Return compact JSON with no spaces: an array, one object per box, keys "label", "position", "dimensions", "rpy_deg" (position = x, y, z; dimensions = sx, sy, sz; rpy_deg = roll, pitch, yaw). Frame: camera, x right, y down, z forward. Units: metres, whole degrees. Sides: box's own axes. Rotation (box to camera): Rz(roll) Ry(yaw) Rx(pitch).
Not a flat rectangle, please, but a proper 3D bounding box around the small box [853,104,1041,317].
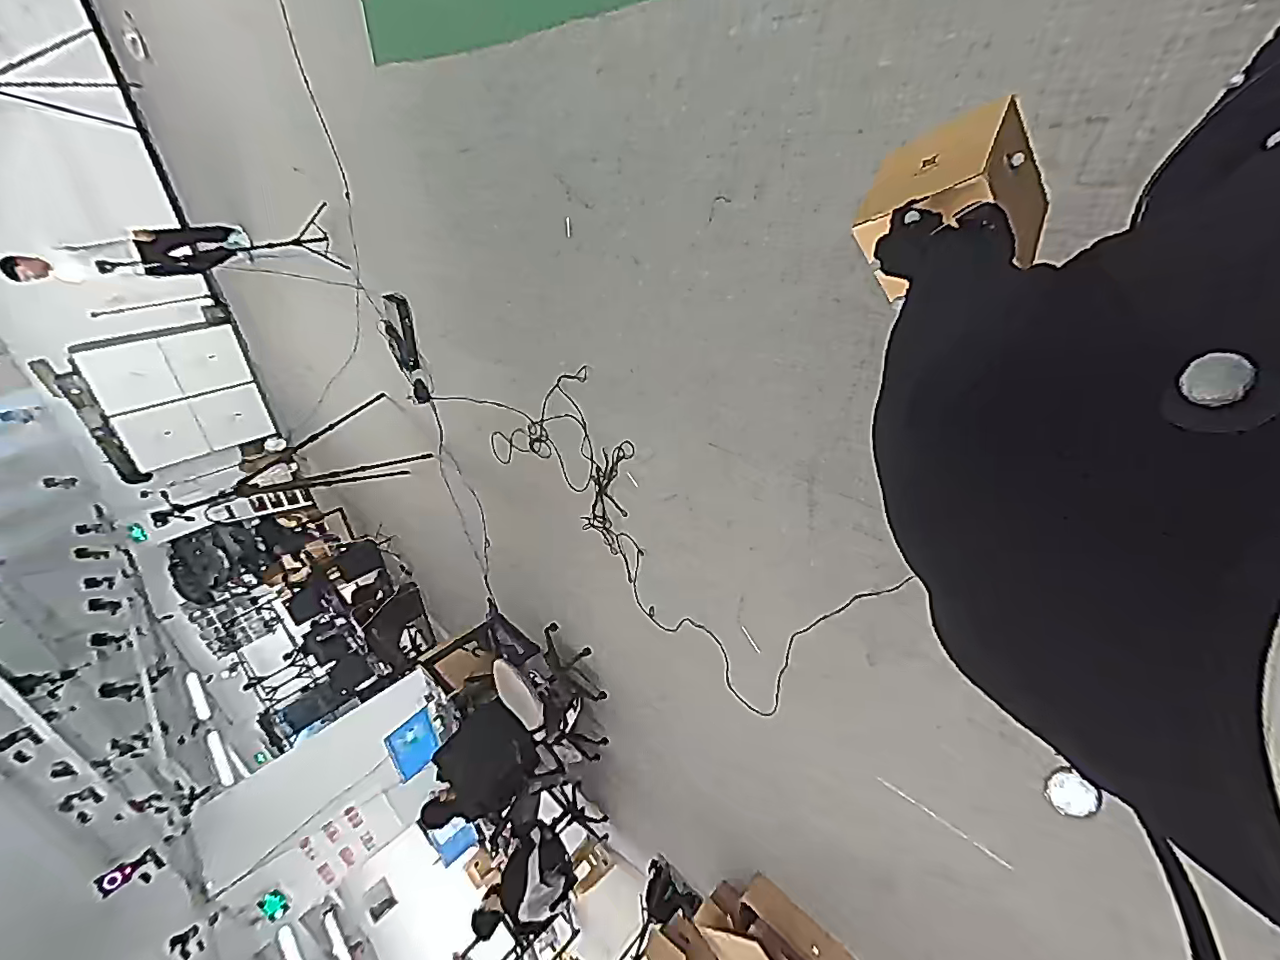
[{"label":"small box","position":[0.435,-0.363,0.758],"dimensions":[0.176,0.179,0.168],"rpy_deg":[43,154,-29]}]
